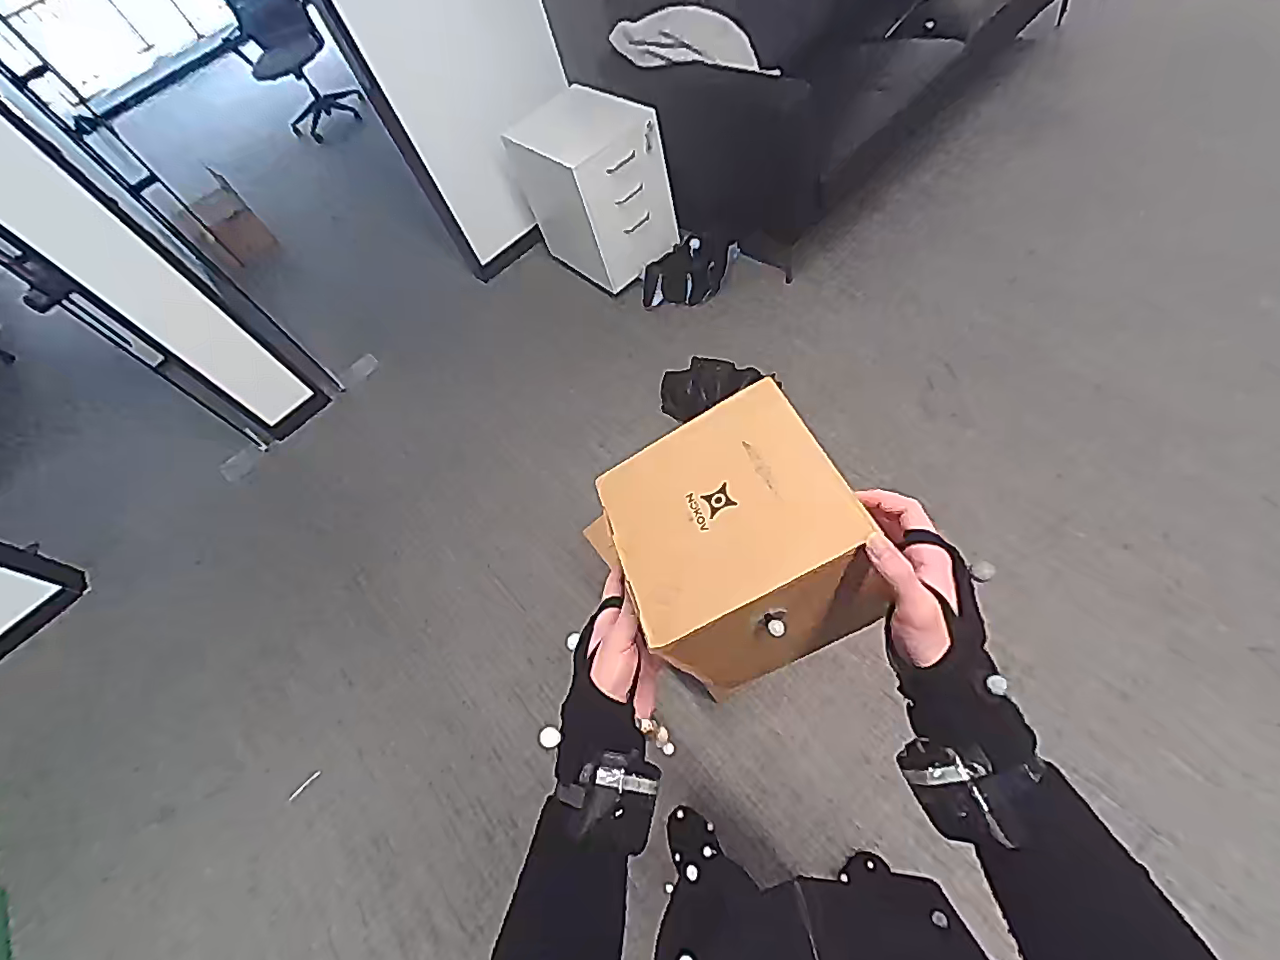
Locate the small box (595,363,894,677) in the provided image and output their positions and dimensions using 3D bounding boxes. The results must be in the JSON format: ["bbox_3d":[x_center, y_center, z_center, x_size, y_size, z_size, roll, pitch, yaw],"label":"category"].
[{"bbox_3d":[0.092,0.044,0.459,0.179,0.176,0.168,-30,51,8],"label":"small box"}]

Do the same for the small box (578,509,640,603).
[{"bbox_3d":[-0.012,0.158,1.274,0.179,0.176,0.168,-37,56,-7],"label":"small box"}]
